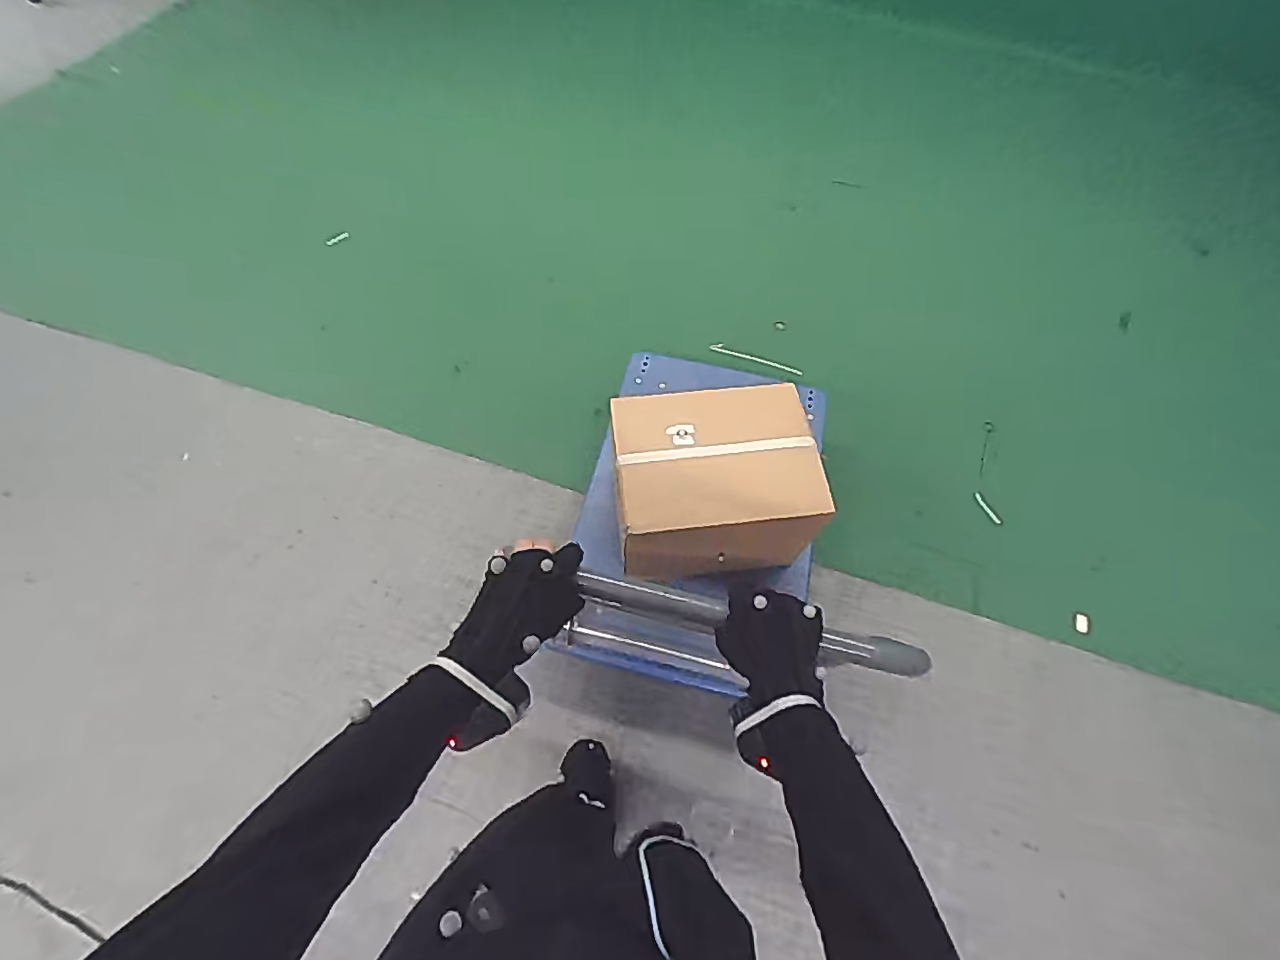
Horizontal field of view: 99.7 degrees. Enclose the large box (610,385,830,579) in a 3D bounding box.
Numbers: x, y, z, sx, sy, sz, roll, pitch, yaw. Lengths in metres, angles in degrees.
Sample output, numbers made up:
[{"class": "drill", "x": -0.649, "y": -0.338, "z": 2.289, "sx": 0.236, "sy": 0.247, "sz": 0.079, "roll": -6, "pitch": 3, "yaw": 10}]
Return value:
[{"class": "large box", "x": 0.151, "y": 0.017, "z": 1.223, "sx": 0.408, "sy": 0.320, "sz": 0.320, "roll": -6, "pitch": 62, "yaw": -4}]
